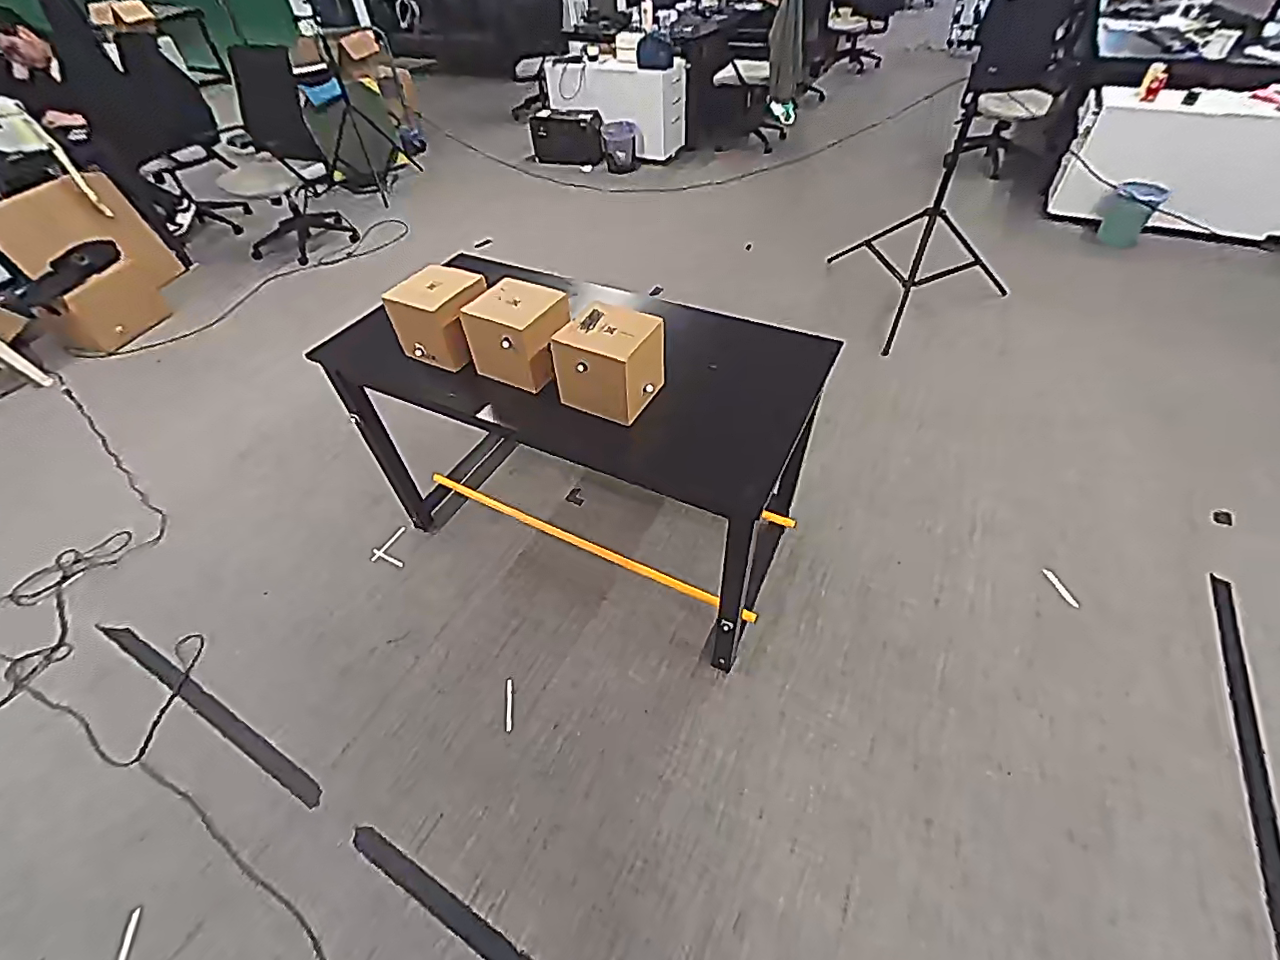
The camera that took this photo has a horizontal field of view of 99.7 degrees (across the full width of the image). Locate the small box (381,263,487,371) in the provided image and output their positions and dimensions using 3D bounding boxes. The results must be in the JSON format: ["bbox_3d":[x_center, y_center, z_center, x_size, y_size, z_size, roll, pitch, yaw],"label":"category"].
[{"bbox_3d":[-0.473,-0.392,1.302,0.168,0.176,0.179,19,52,21],"label":"small box"}]

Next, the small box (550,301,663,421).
[{"bbox_3d":[-0.063,-0.250,1.147,0.179,0.176,0.168,21,52,20],"label":"small box"}]

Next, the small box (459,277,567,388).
[{"bbox_3d":[-0.273,-0.332,1.233,0.179,0.176,0.168,21,52,21],"label":"small box"}]
